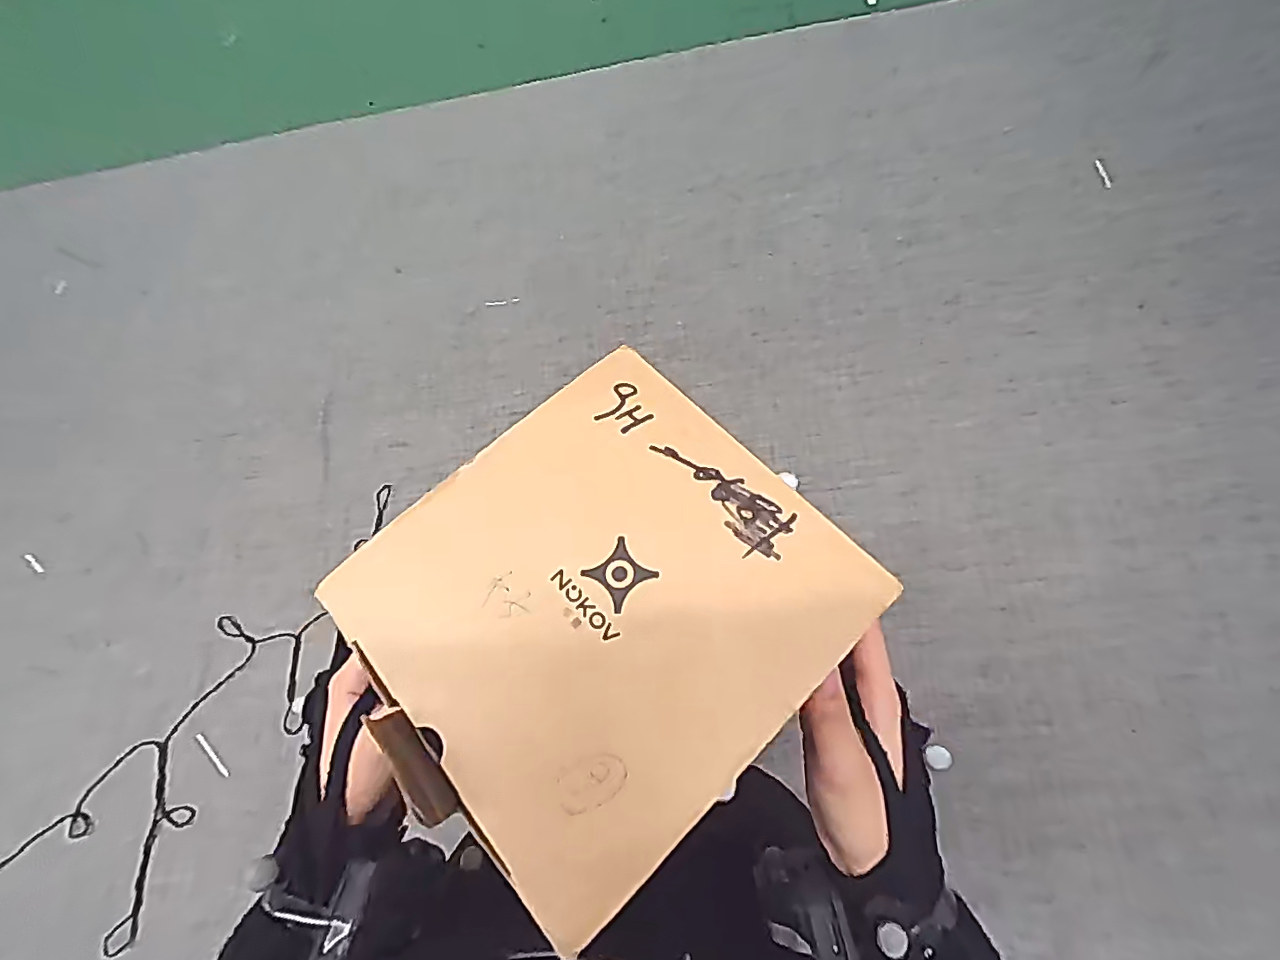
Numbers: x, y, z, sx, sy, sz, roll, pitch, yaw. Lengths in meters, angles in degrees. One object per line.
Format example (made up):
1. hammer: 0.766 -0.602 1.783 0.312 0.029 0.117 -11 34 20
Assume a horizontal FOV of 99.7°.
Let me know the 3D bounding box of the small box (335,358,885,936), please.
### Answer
1. small box: -0.011 0.077 0.298 0.179 0.176 0.168 -41 71 -13
